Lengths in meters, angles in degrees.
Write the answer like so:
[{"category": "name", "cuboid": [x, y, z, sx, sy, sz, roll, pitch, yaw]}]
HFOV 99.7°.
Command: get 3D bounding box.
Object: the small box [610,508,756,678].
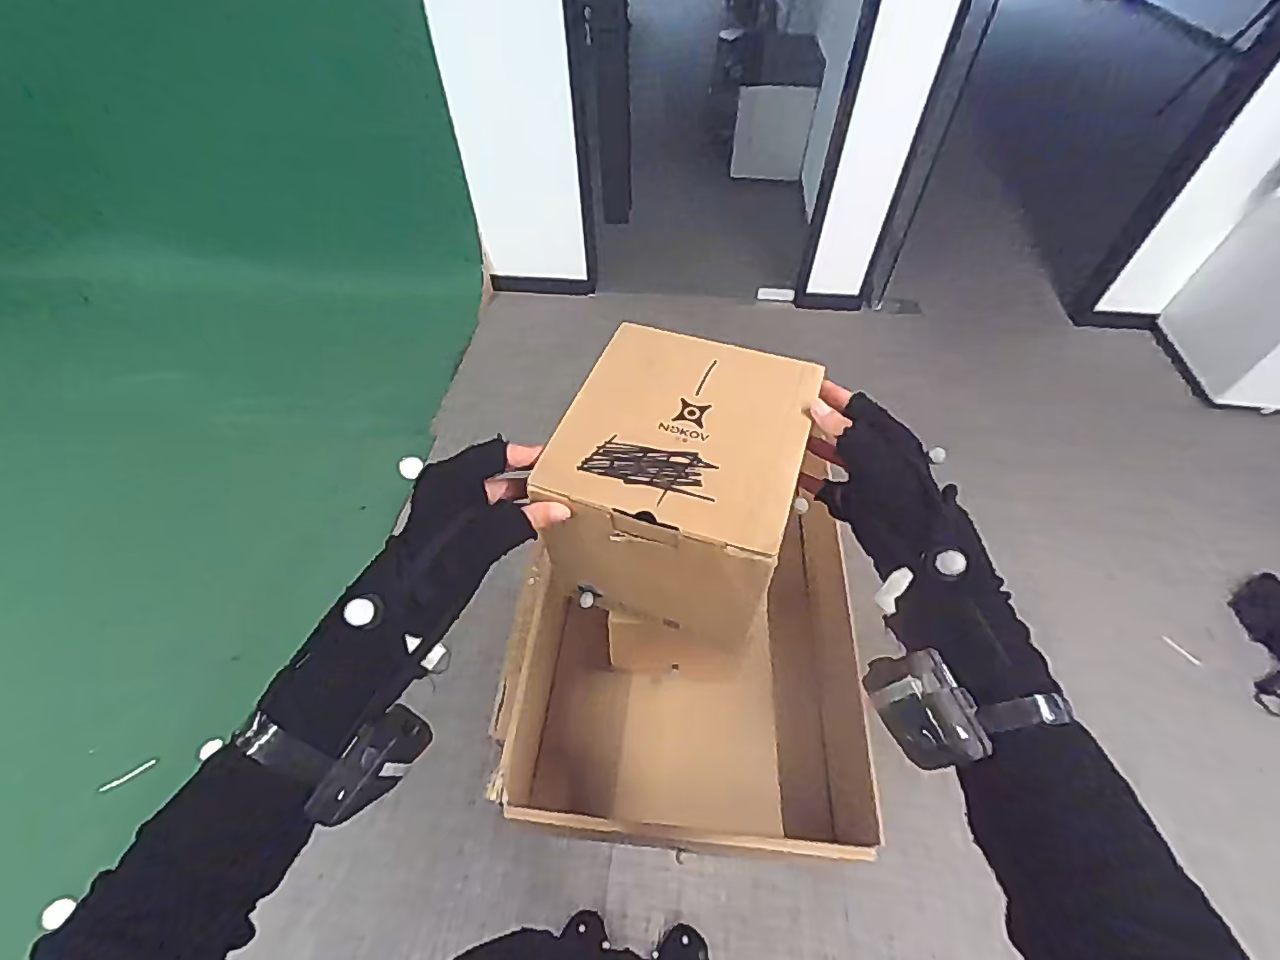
[{"category": "small box", "cuboid": [0.056, 0.160, 0.748, 0.179, 0.176, 0.168, 5, 50, 3]}]
